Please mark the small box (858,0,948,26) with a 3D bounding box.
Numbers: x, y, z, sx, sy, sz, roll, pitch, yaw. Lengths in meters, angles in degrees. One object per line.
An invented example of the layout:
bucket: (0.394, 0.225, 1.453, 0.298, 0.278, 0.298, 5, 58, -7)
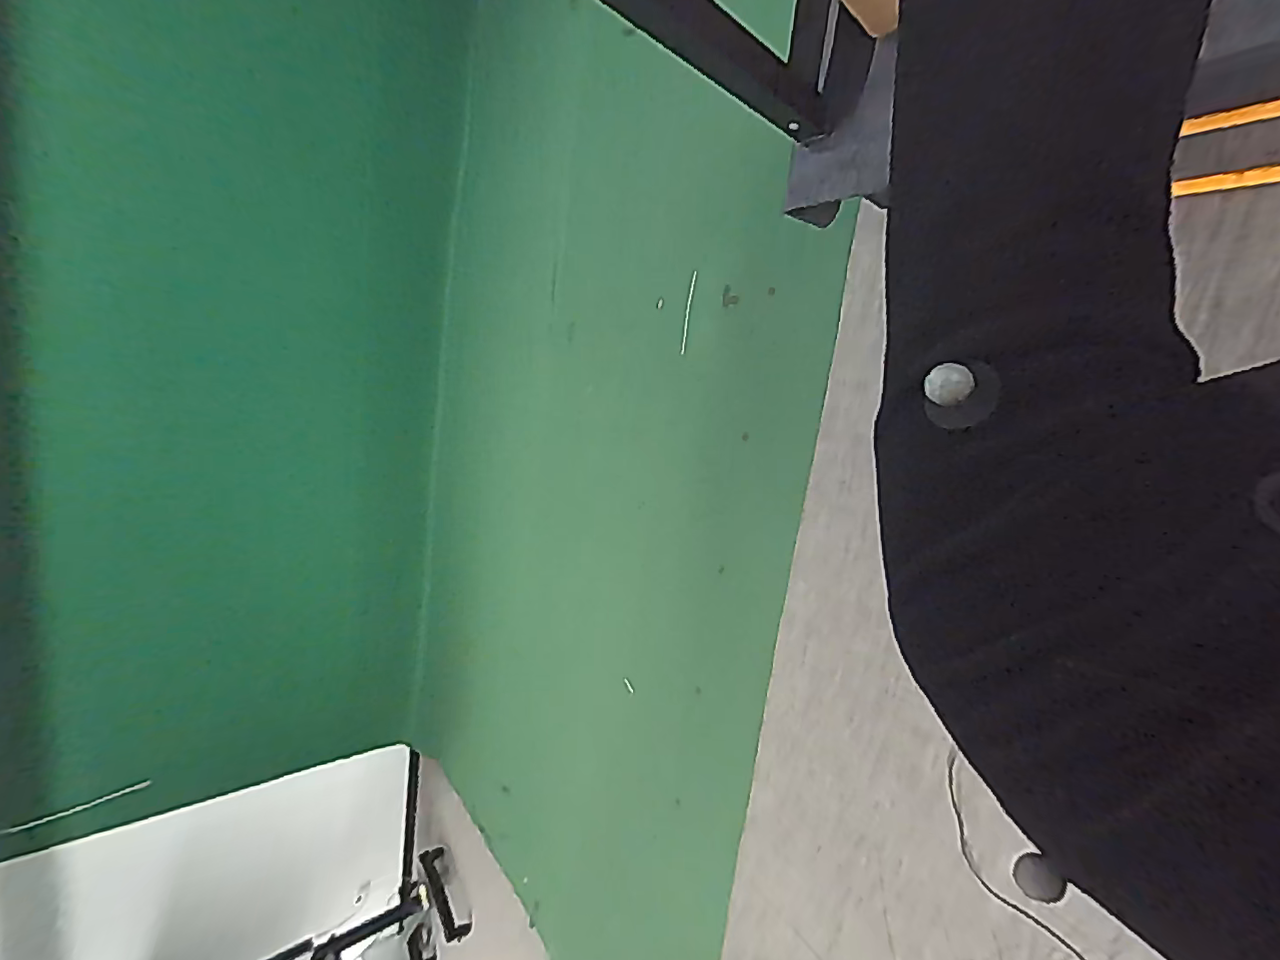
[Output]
small box: (0.356, -0.744, 0.688, 0.168, 0.176, 0.179, 17, 103, 48)
